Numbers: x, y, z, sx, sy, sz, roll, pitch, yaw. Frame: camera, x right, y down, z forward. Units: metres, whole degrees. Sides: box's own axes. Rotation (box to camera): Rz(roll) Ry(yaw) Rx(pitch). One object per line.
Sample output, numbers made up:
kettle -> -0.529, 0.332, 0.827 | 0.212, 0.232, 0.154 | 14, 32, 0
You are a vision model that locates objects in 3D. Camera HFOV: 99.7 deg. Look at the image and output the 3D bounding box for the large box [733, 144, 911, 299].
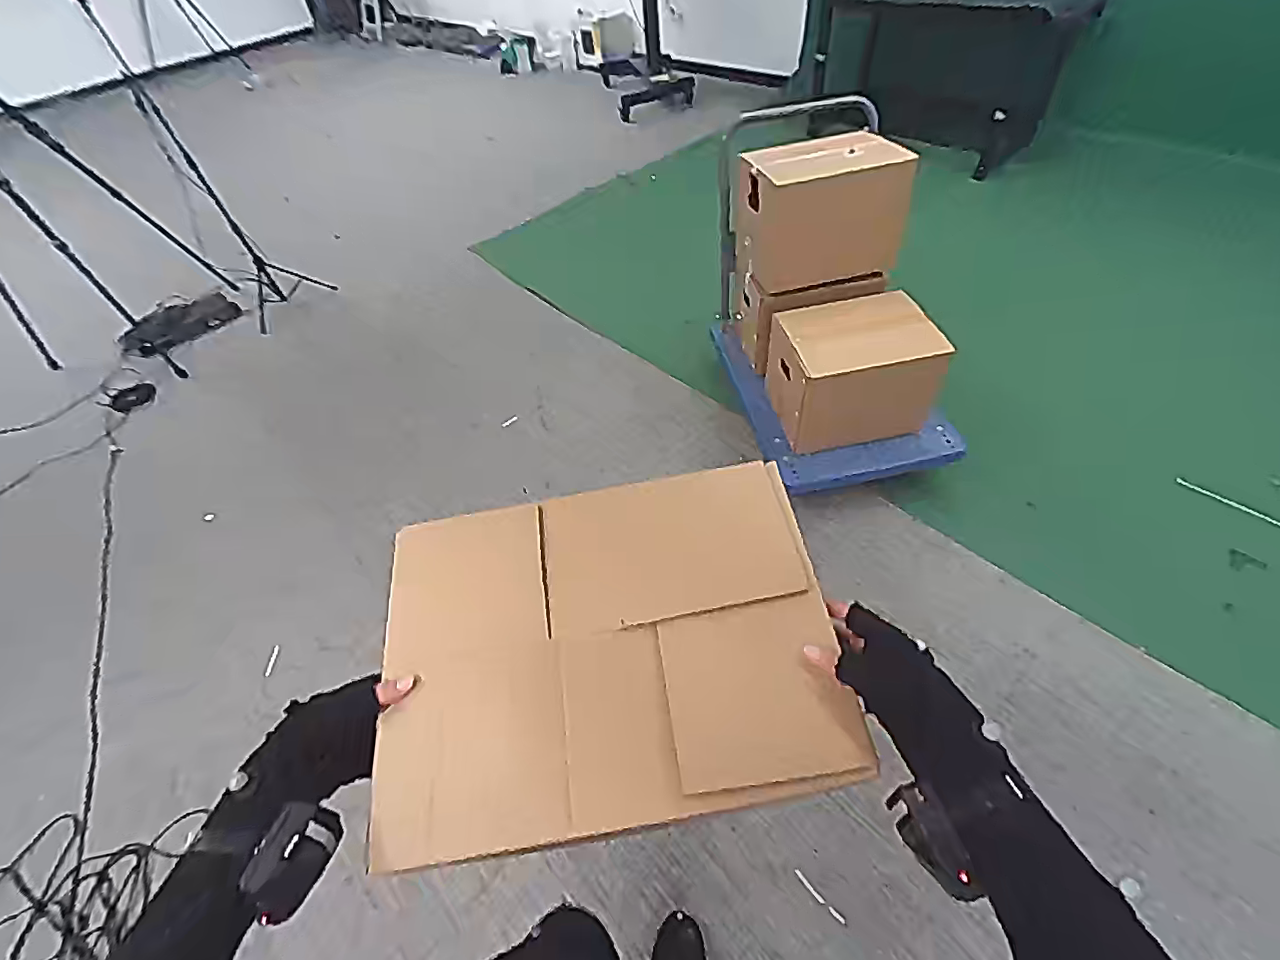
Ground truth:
large box -> 0.524, -0.789, 1.648 | 0.408, 0.320, 0.320 | -12, 44, -4
